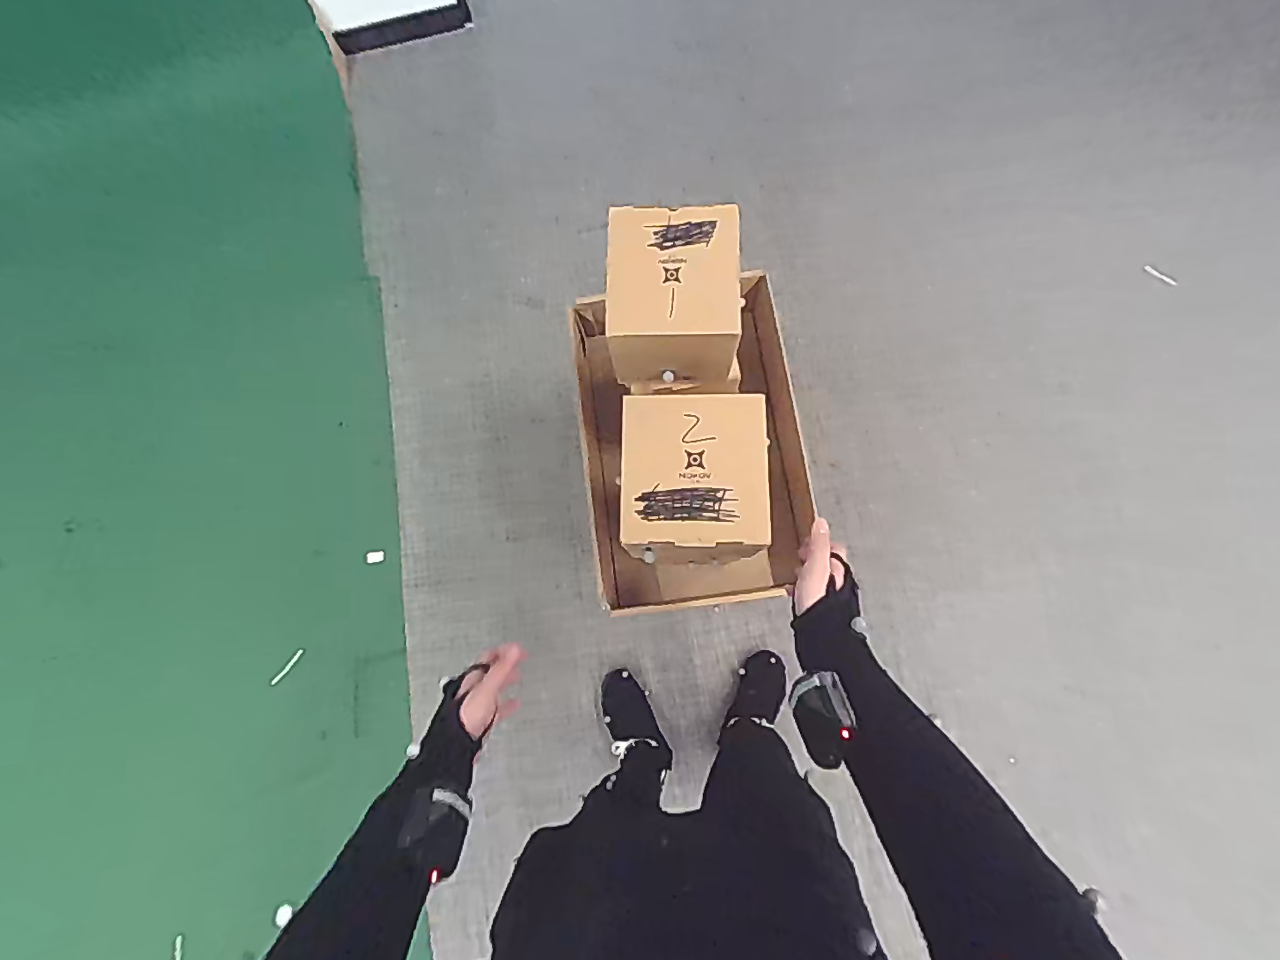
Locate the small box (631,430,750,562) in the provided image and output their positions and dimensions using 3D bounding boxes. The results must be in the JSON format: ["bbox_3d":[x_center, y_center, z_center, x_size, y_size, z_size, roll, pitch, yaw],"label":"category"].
[{"bbox_3d":[0.079,0.033,0.846,0.168,0.176,0.179,2,76,4],"label":"small box"}]

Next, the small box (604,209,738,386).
[{"bbox_3d":[0.043,-0.243,0.747,0.168,0.176,0.179,0,79,4],"label":"small box"}]

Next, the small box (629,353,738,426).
[{"bbox_3d":[0.059,-0.206,0.906,0.168,0.176,0.179,-9,79,2],"label":"small box"}]
